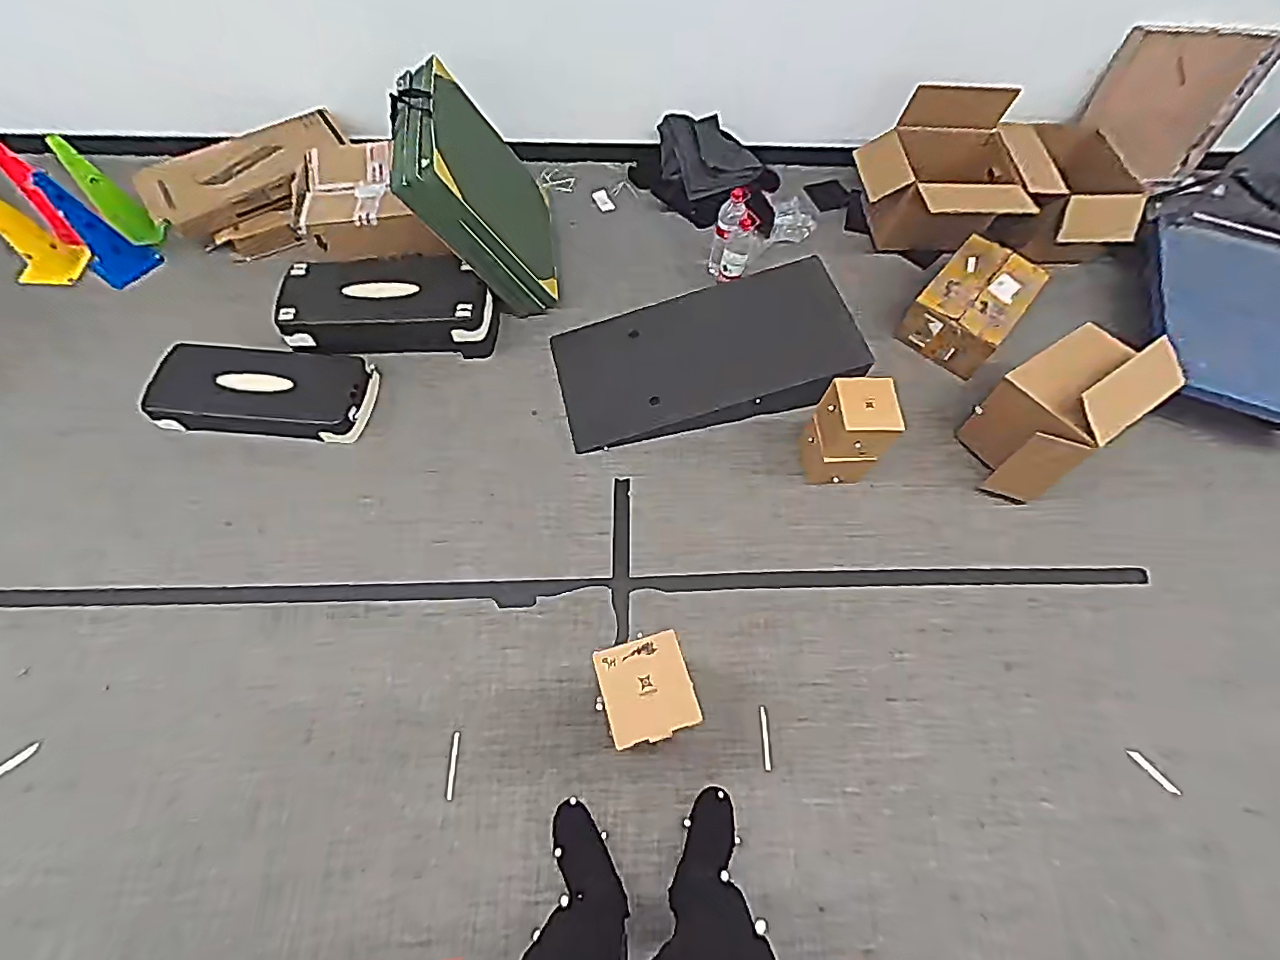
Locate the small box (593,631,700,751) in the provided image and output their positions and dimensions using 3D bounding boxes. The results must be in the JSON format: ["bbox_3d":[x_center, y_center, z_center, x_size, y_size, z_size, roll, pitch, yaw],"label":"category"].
[{"bbox_3d":[0.008,0.419,1.074,0.168,0.176,0.179,-14,66,-9],"label":"small box"}]
